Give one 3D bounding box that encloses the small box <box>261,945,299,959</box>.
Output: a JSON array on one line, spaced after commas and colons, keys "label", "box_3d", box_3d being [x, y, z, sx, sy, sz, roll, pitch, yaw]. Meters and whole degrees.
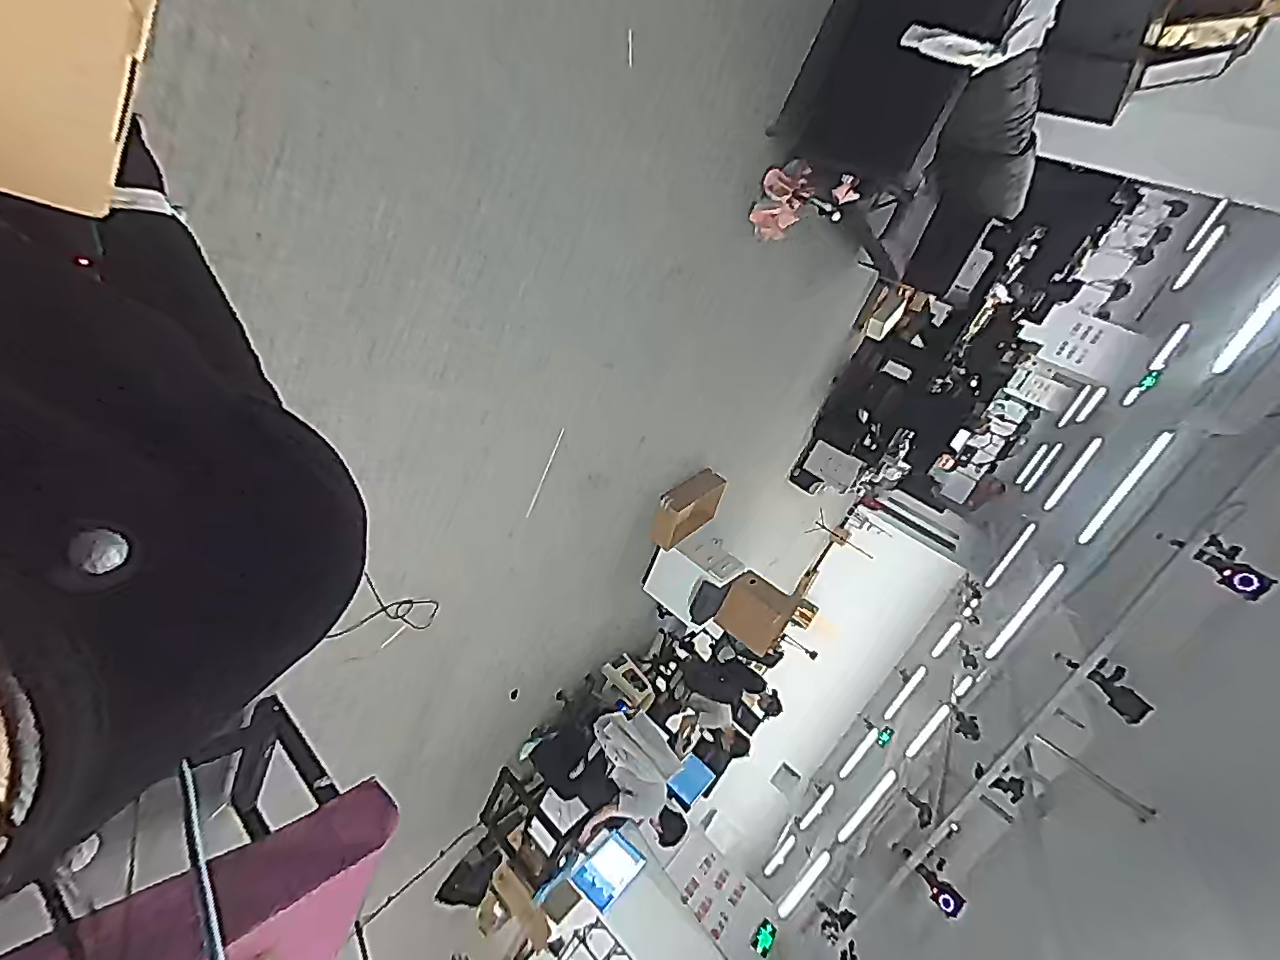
[{"label": "small box", "box_3d": [-1.033, 1.441, 1.484, 0.168, 0.176, 0.179, -3, 124, -57]}]
